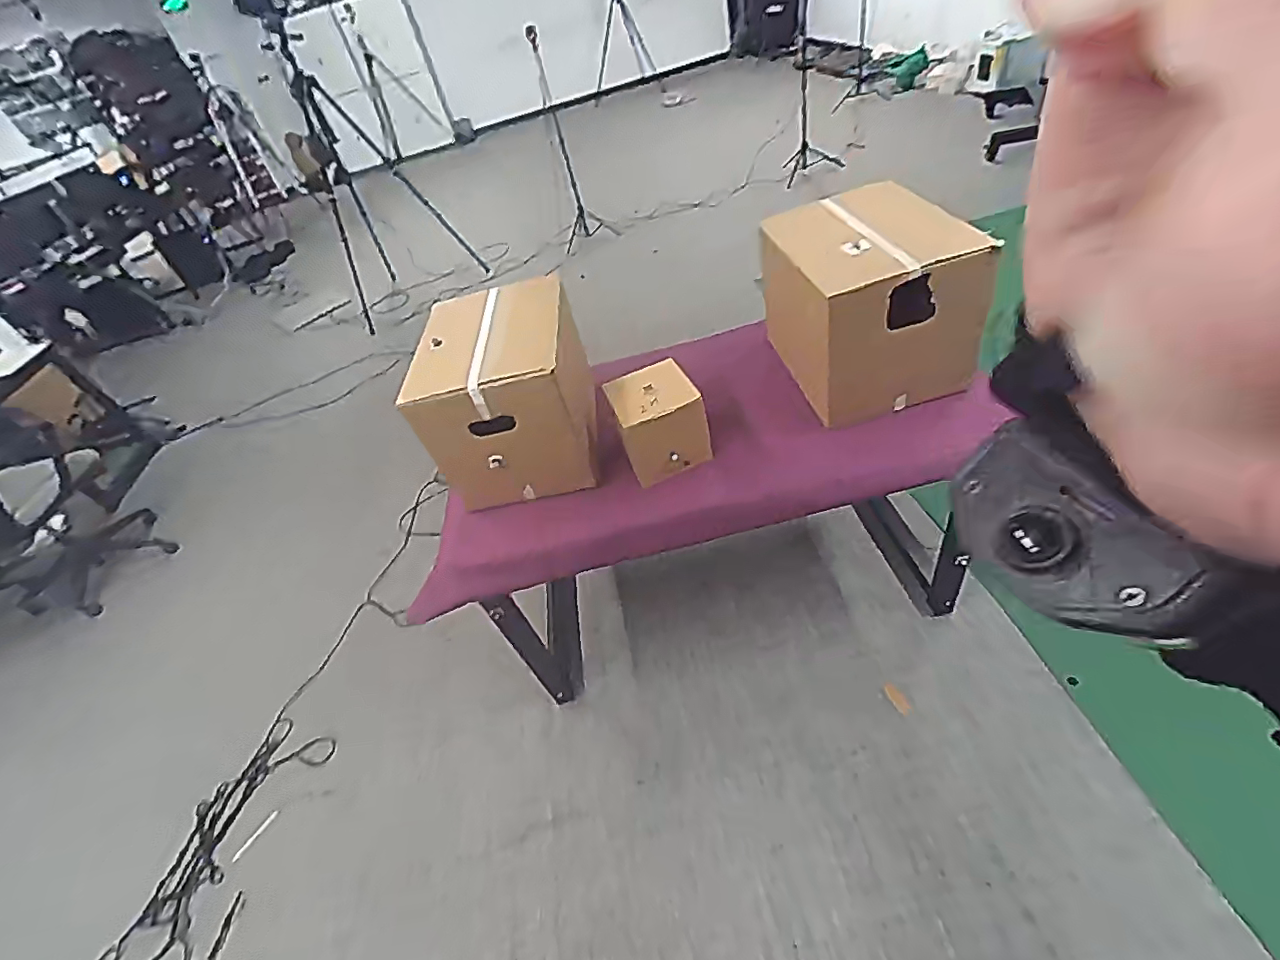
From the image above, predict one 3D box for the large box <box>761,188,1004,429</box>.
[{"bbox_3d":[0.483,-0.379,1.179,0.320,0.320,0.408,-17,44,4],"label":"large box"}]
